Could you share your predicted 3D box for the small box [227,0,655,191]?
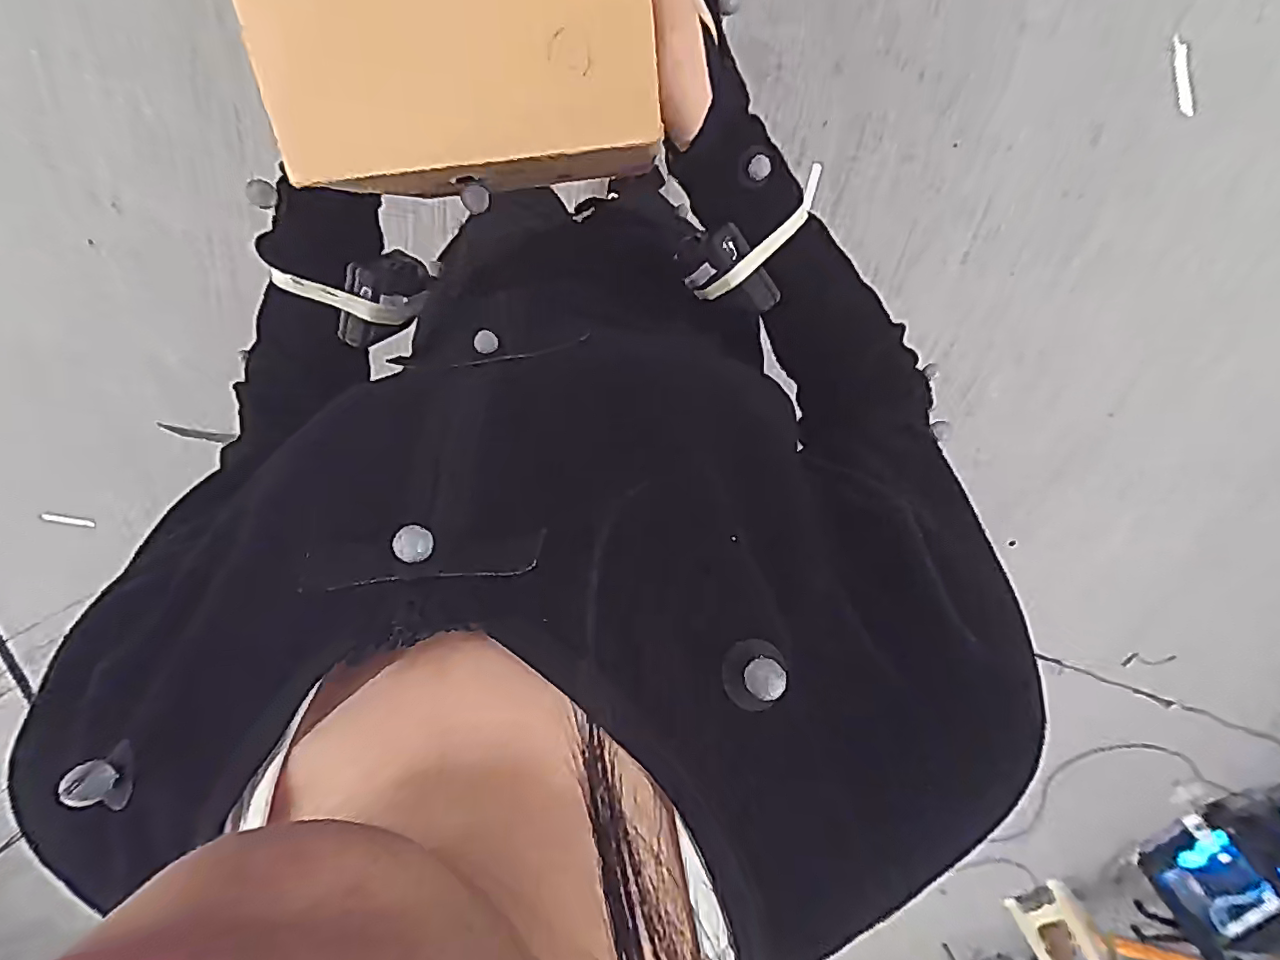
[{"bbox_3d":[-0.080,-0.249,0.267,0.168,0.176,0.179,-6,114,3],"label":"small box"}]
